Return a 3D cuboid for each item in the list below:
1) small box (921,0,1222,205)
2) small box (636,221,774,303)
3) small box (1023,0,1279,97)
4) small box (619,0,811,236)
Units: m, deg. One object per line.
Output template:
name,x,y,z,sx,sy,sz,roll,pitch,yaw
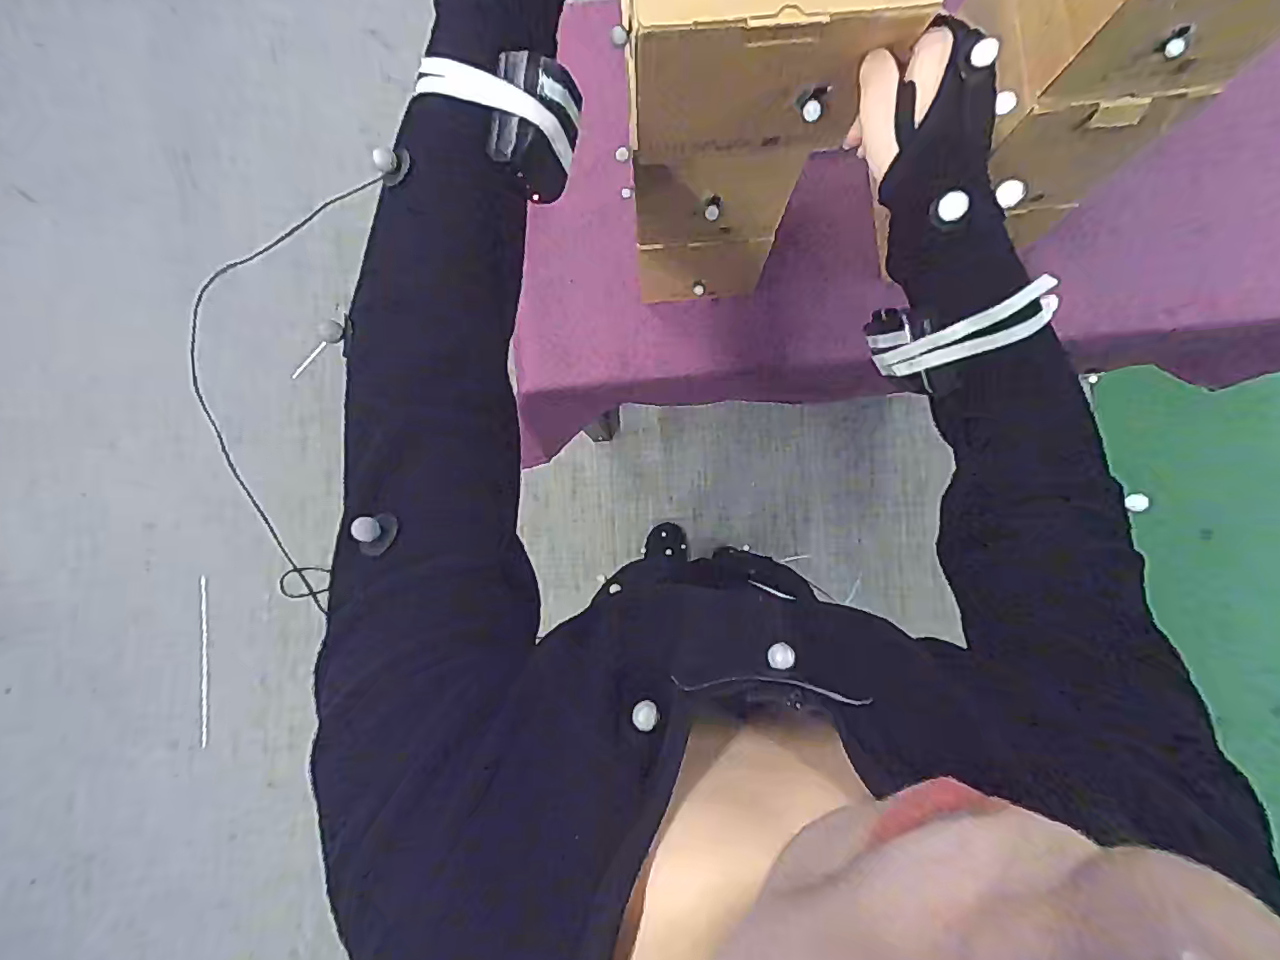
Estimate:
small box,0.415,-0.407,0.554,0.168,0.176,0.179,-5,85,2
small box,0.077,-0.360,0.729,0.168,0.176,0.179,-4,86,2
small box,0.411,-0.428,0.392,0.168,0.176,0.179,-6,86,2
small box,0.070,-0.375,0.565,0.168,0.176,0.179,-4,86,1
